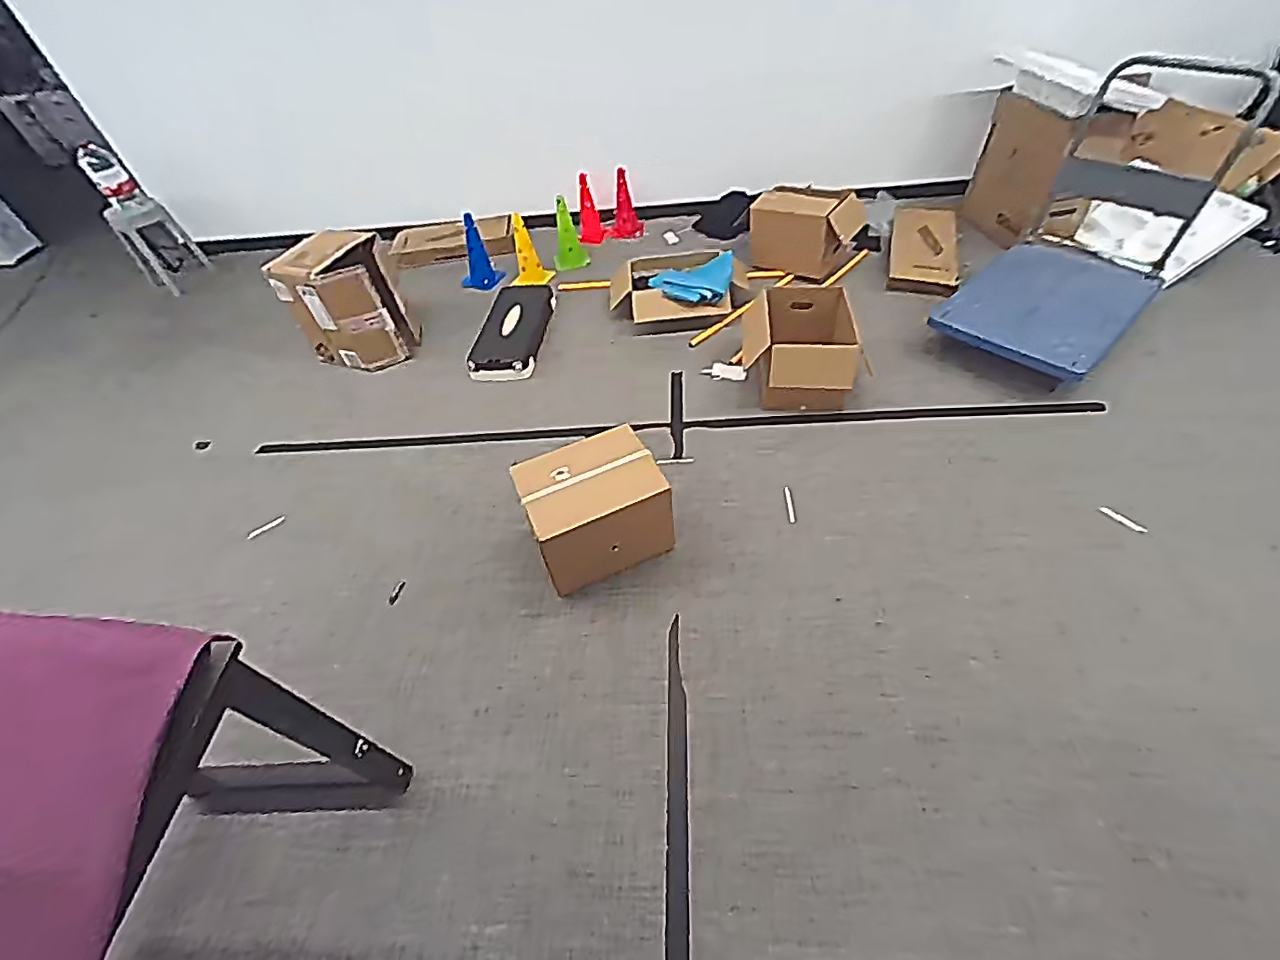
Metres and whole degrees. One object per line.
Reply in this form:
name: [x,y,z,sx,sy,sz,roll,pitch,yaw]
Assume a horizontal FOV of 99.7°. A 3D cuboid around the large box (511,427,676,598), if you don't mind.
large box: [-0.137,0.102,1.699,0.408,0.320,0.320,-23,49,-12]
